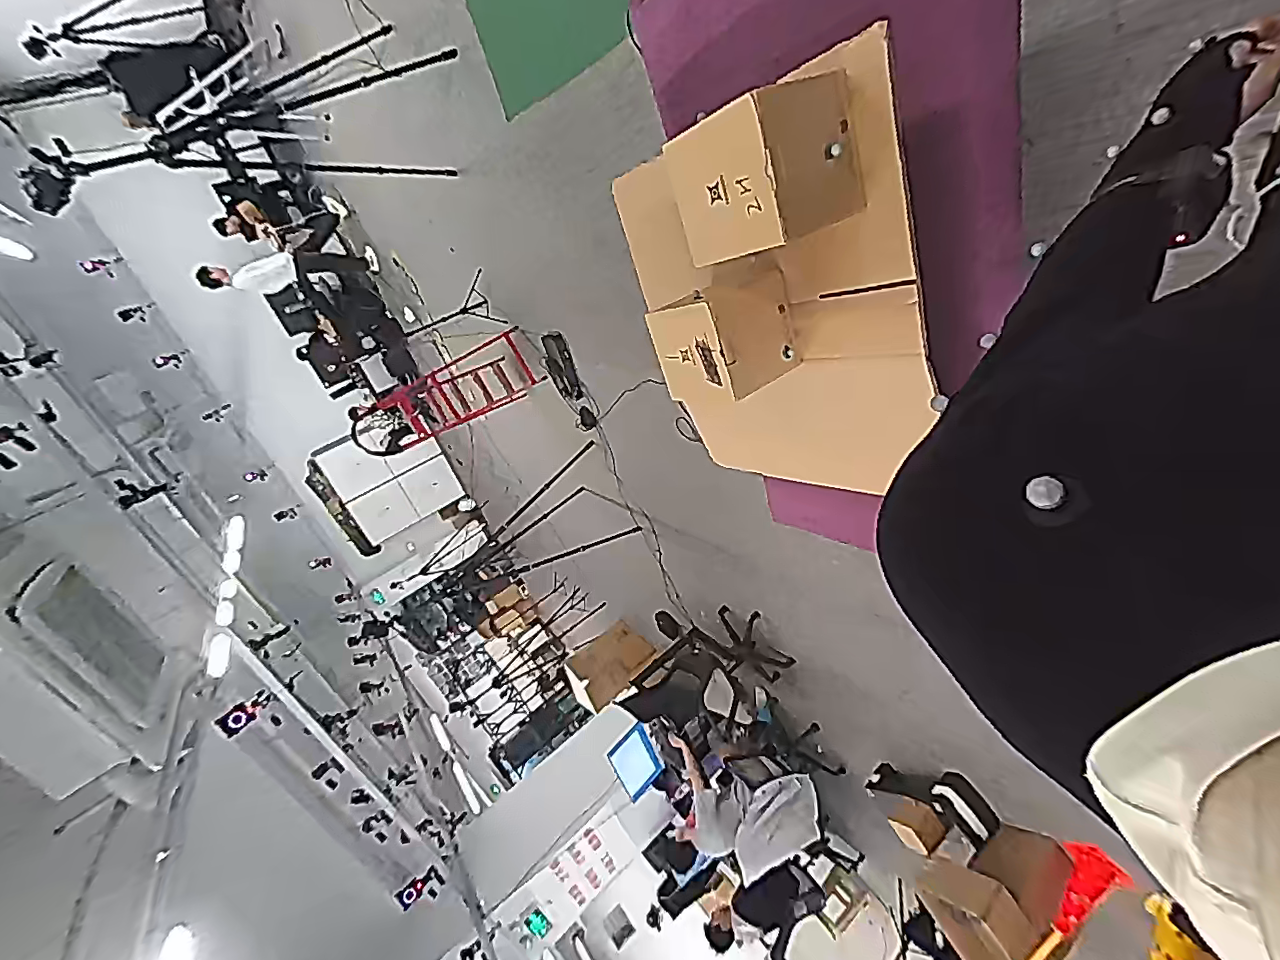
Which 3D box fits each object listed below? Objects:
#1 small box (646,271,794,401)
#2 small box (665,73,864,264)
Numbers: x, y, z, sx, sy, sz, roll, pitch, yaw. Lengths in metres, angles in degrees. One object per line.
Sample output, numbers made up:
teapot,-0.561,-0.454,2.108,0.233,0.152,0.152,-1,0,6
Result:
small box,0.146,-0.246,0.935,0.179,0.176,0.168,15,130,56
small box,0.167,-0.408,0.725,0.179,0.176,0.168,15,131,55
